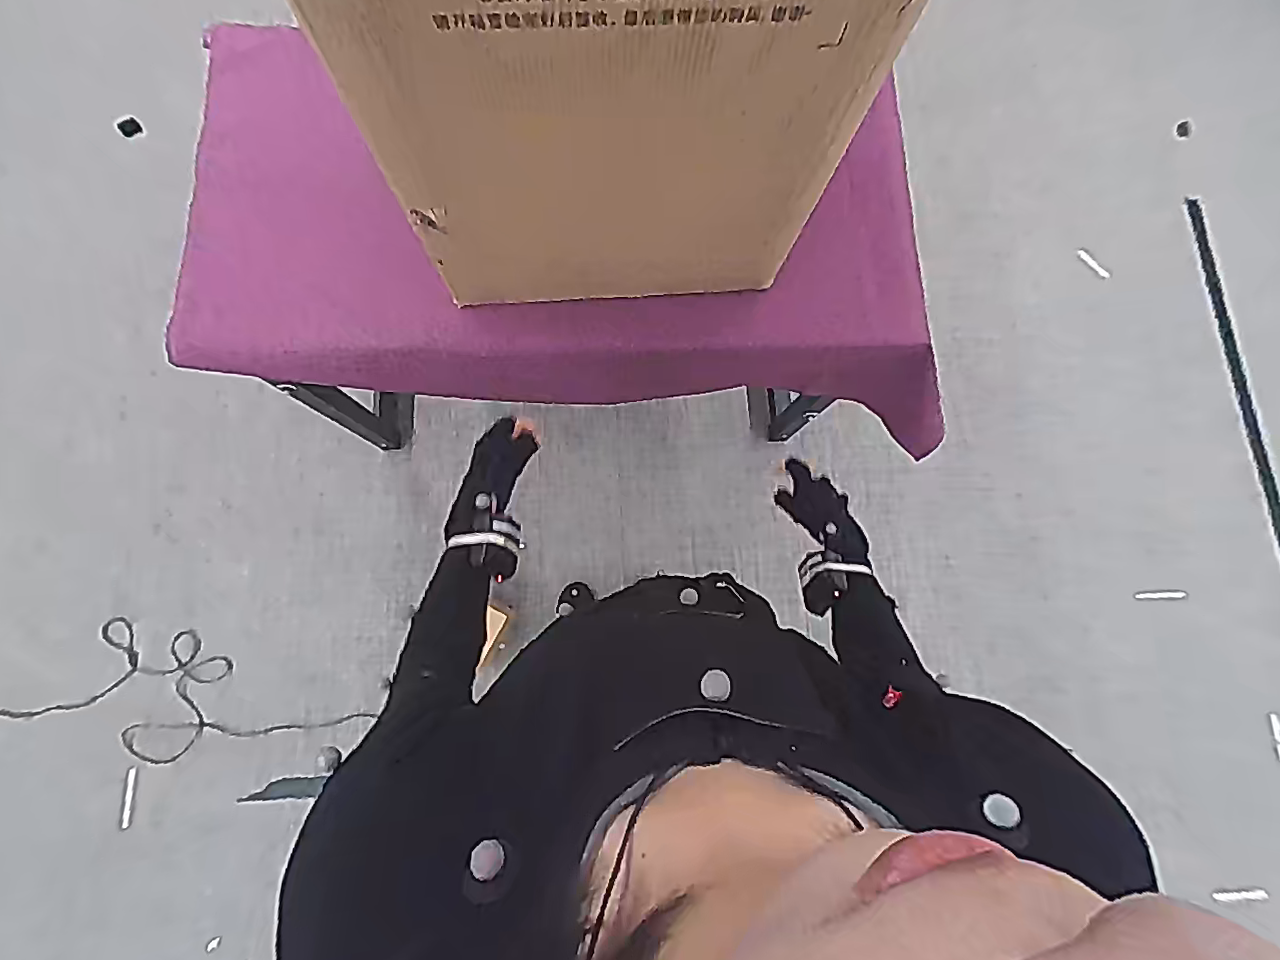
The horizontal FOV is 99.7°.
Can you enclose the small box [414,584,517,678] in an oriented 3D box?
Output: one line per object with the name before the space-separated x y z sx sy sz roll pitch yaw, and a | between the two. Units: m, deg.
small box | -0.439 0.383 1.392 0.179 0.176 0.168 28 79 1
